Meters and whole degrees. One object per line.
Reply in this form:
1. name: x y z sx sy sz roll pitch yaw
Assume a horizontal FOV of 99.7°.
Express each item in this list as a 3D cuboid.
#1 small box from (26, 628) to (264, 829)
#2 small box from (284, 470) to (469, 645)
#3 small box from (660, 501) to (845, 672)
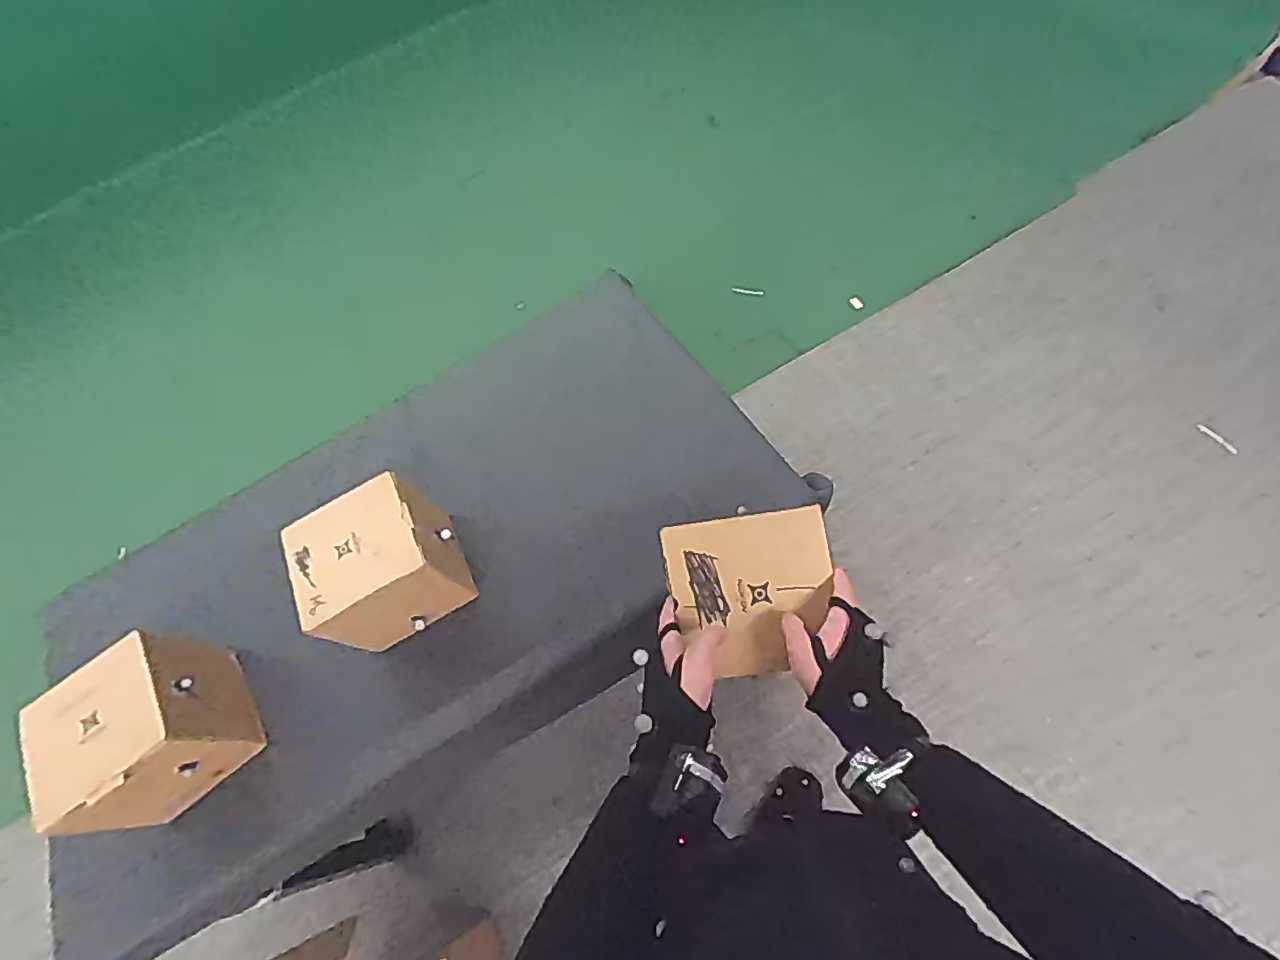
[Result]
1. small box: -0.670 0.338 0.749 0.168 0.176 0.179 -38 62 -11
2. small box: -0.375 0.121 0.800 0.179 0.176 0.168 -29 63 -5
3. small box: 0.128 0.124 0.652 0.179 0.176 0.168 -9 82 7
